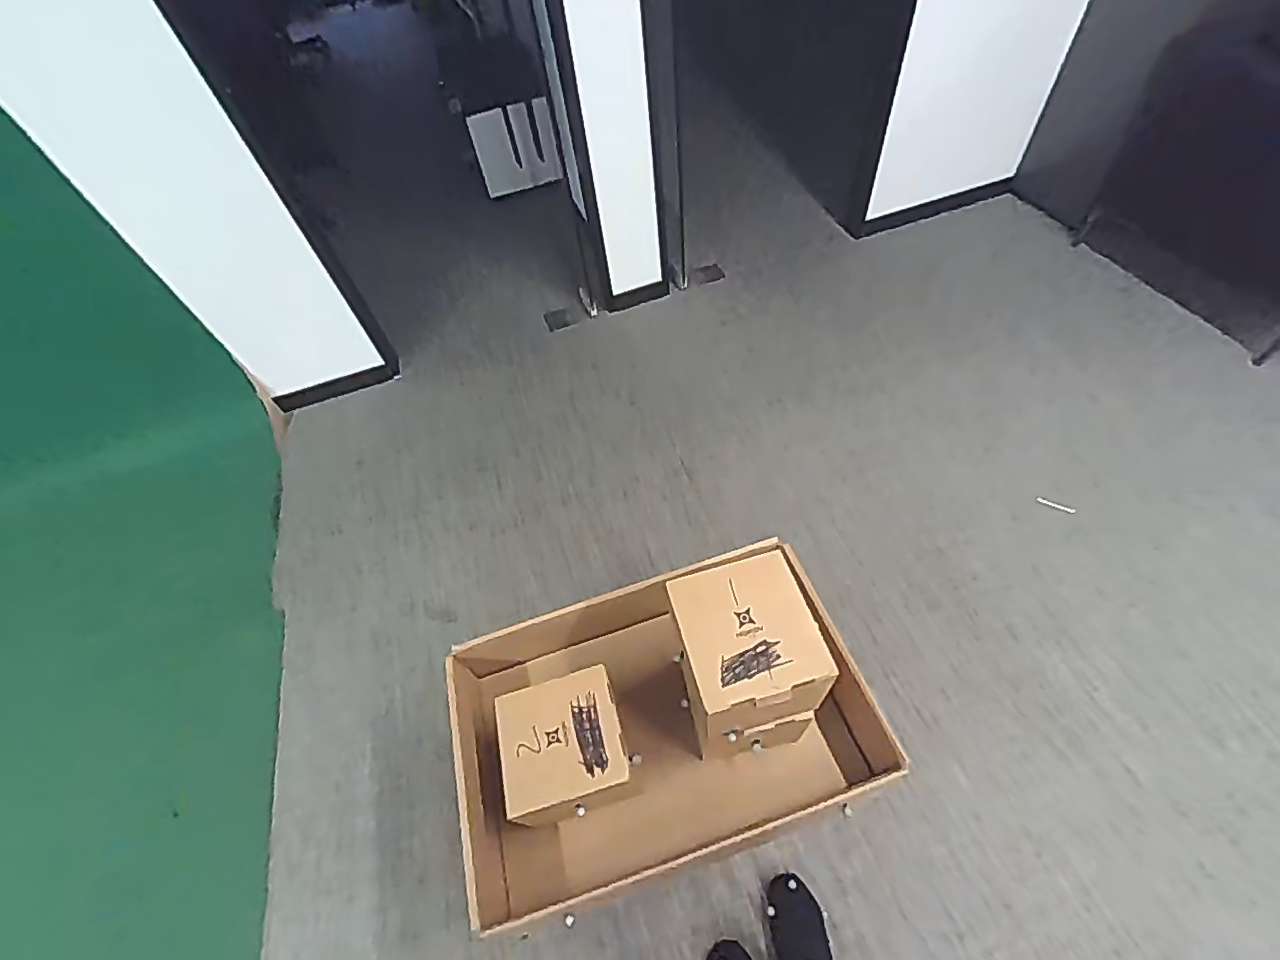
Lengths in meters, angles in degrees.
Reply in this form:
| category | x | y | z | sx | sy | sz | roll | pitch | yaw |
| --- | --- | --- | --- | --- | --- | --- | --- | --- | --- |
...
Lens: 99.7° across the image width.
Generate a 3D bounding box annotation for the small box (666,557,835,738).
| category | x | y | z | sx | sy | sz | roll | pitch | yaw |
| --- | --- | --- | --- | --- | --- | --- | --- | --- | --- |
| small box | 0.142 | 0.237 | 0.741 | 0.168 | 0.176 | 0.179 | -15 | 53 | -4 |
